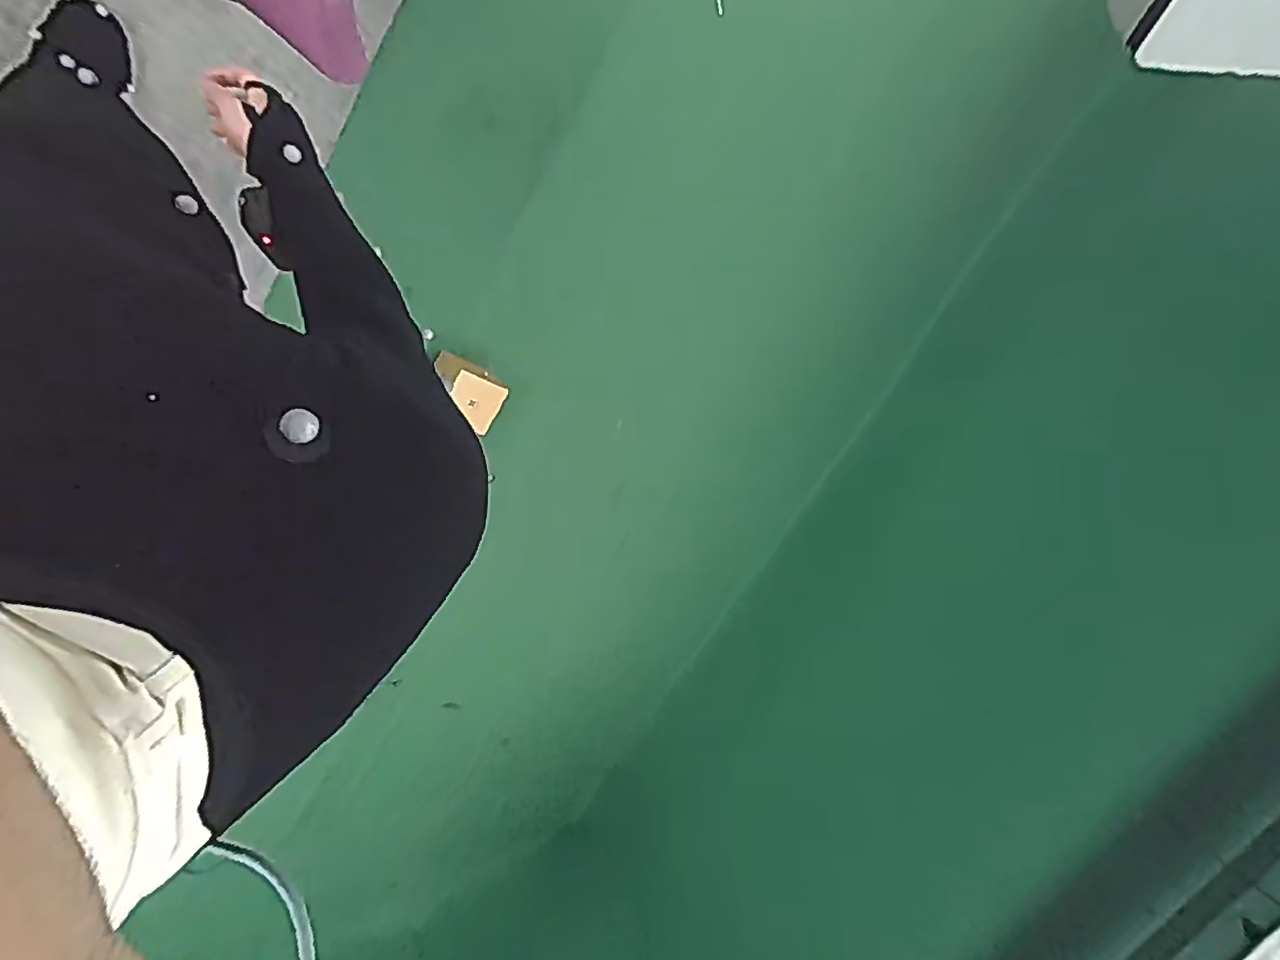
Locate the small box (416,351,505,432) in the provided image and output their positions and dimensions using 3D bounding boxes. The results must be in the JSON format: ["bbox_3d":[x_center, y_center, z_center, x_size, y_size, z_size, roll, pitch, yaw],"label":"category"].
[{"bbox_3d":[-0.558,-0.276,1.664,0.179,0.176,0.168,20,106,-50],"label":"small box"}]
